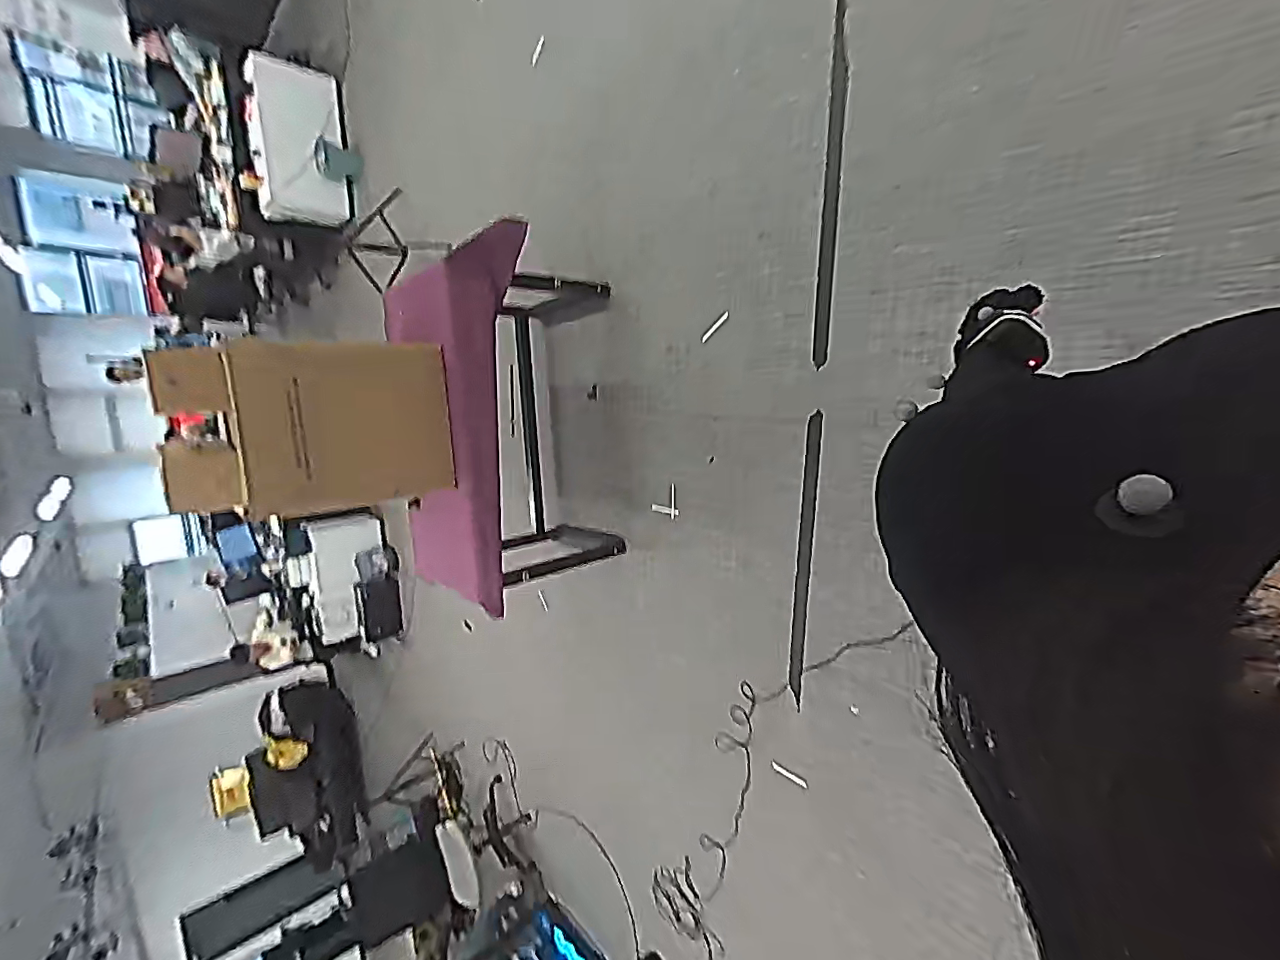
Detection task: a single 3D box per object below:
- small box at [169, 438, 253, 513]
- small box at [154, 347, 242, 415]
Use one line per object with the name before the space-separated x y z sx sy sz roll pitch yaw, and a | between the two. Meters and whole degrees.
small box | -1.272 -0.021 1.607 0.168 0.176 0.179 25 115 42
small box | -1.260 -0.284 1.544 0.168 0.176 0.179 4 102 47
